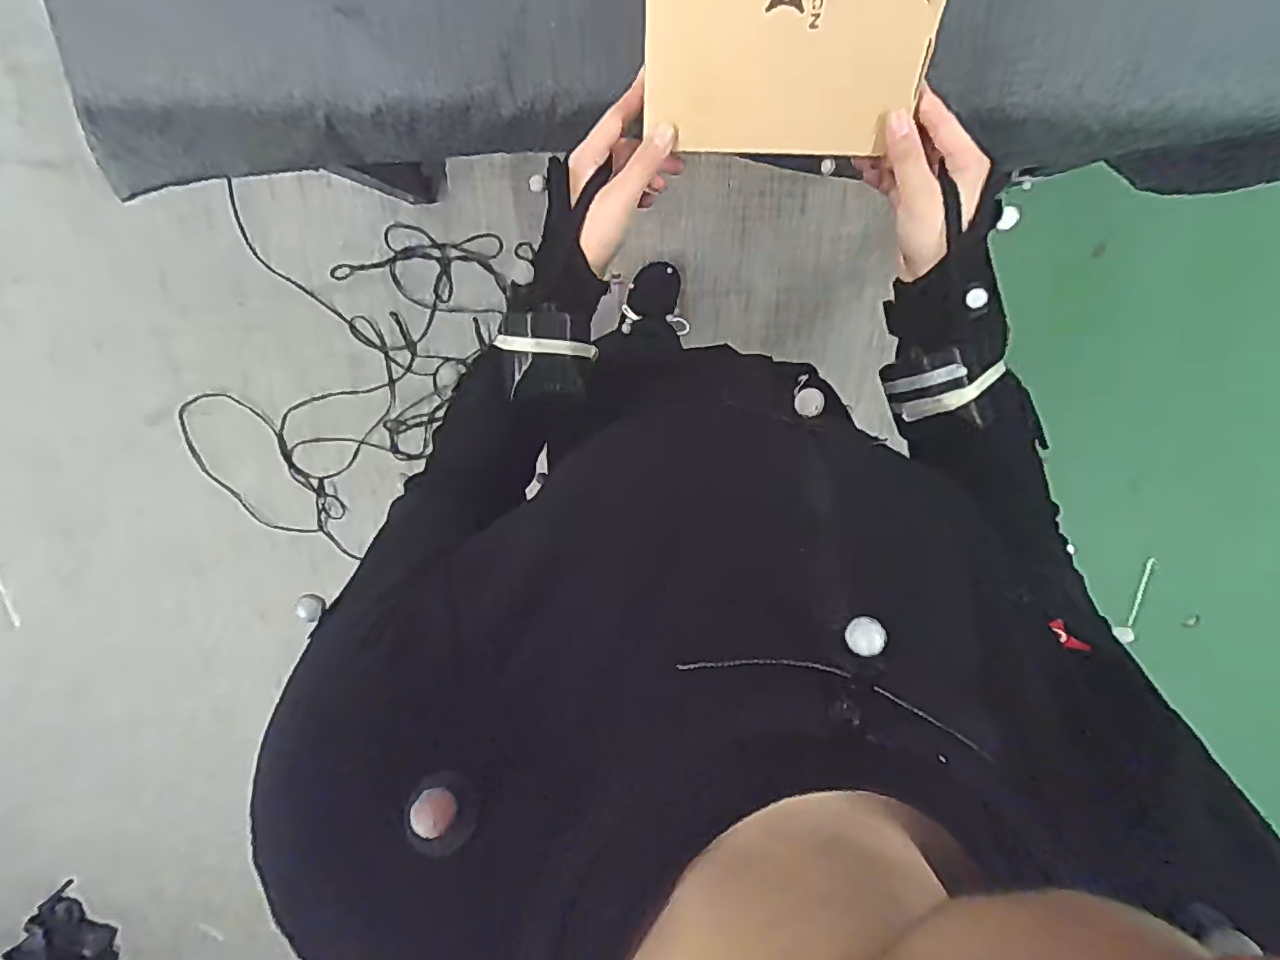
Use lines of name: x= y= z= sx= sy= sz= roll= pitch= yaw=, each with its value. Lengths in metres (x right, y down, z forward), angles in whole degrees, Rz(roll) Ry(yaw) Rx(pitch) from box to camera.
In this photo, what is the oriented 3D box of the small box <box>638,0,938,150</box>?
small box: x=0.088 y=-0.332 z=0.377 sx=0.179 sy=0.176 sz=0.168 roll=0 pitch=125 yaw=0
